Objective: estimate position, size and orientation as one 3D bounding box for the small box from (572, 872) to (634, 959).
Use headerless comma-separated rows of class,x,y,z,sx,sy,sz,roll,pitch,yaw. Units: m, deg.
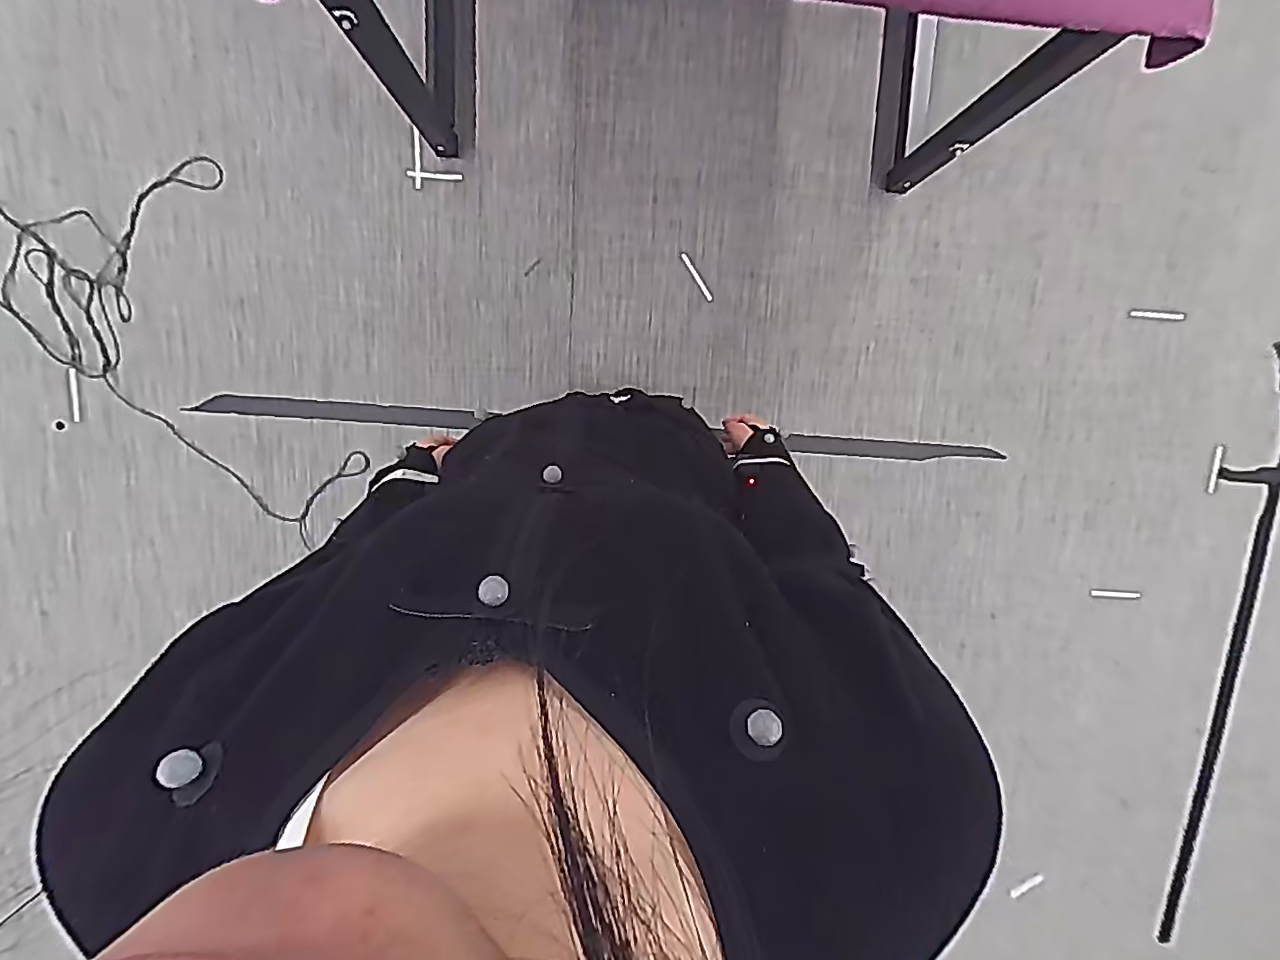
small box,-0.110,1.314,1.611,0.168,0.176,0.179,5,100,-2
